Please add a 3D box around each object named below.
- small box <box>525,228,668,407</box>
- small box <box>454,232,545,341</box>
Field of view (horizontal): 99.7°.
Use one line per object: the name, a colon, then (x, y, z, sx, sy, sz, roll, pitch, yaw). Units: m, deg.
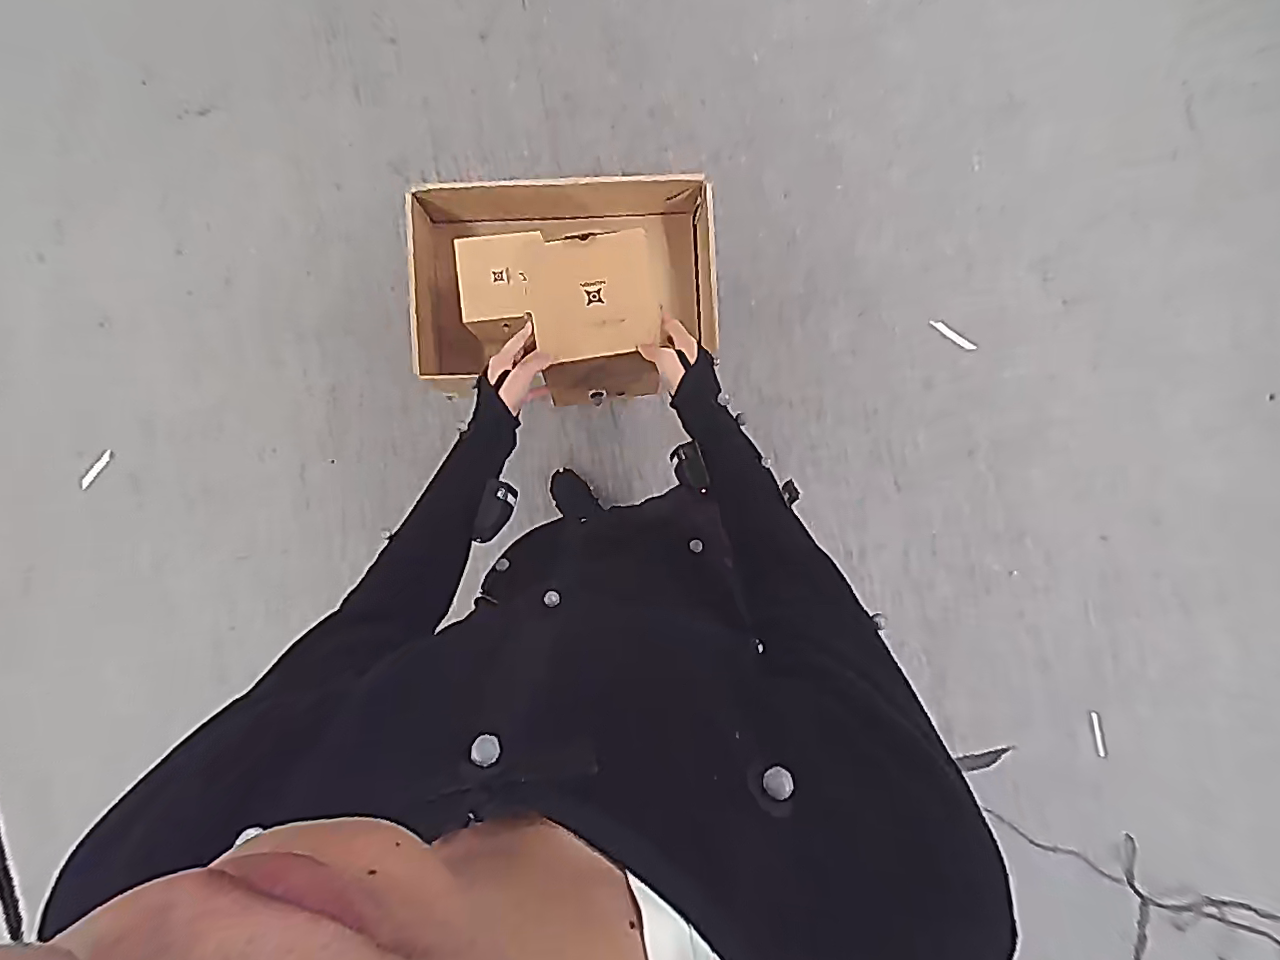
small box: (-0.062, -0.222, 0.769, 0.168, 0.176, 0.179, -9, 78, -4)
small box: (-0.271, -0.396, 1.132, 0.179, 0.176, 0.168, -6, 91, -3)
